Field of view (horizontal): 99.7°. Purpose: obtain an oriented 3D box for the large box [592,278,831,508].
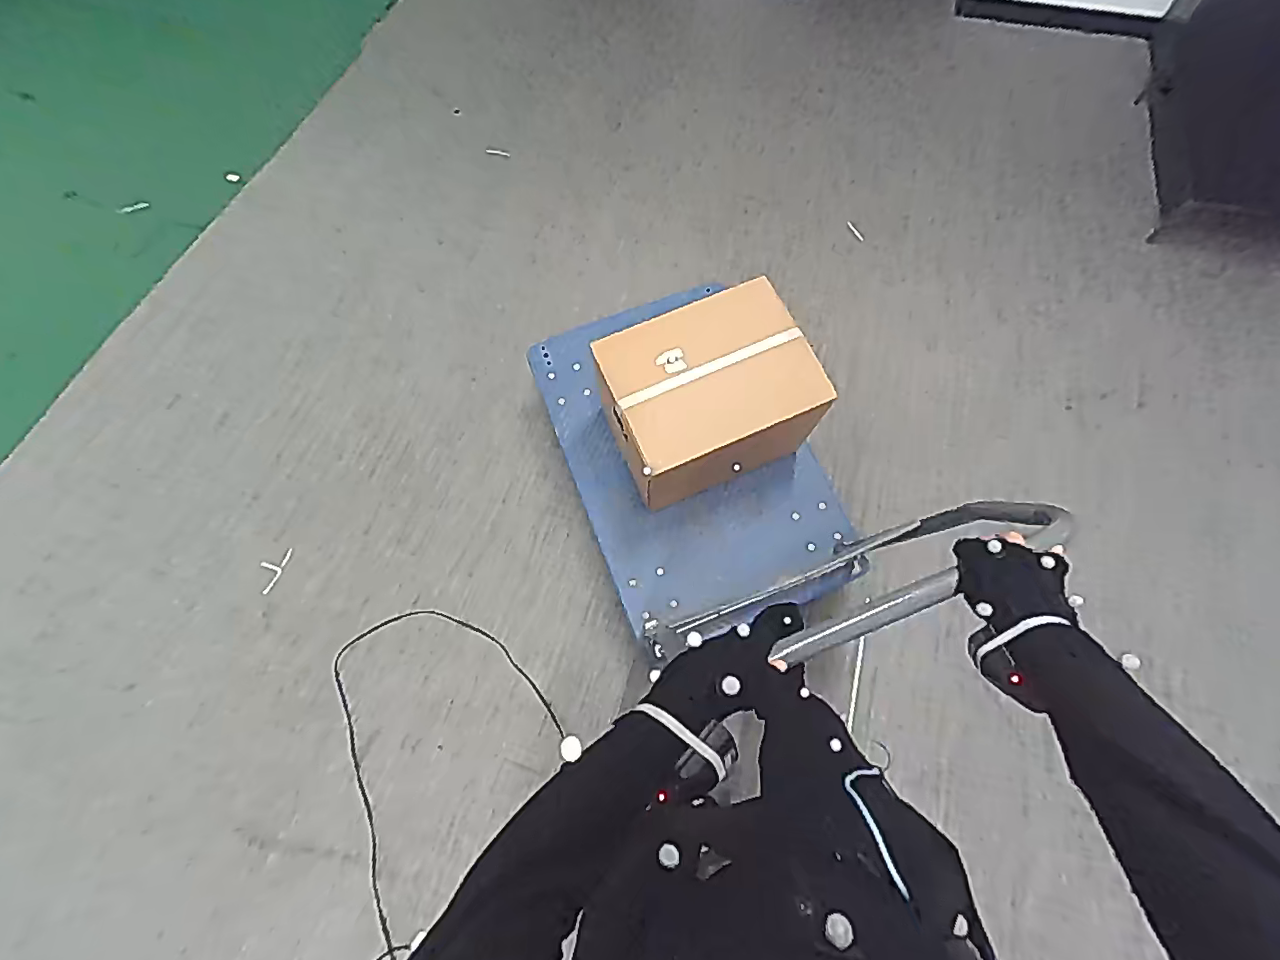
[{"bbox_3d":[0.147,-0.179,1.238,0.408,0.320,0.320,-25,74,-5],"label":"large box"}]
